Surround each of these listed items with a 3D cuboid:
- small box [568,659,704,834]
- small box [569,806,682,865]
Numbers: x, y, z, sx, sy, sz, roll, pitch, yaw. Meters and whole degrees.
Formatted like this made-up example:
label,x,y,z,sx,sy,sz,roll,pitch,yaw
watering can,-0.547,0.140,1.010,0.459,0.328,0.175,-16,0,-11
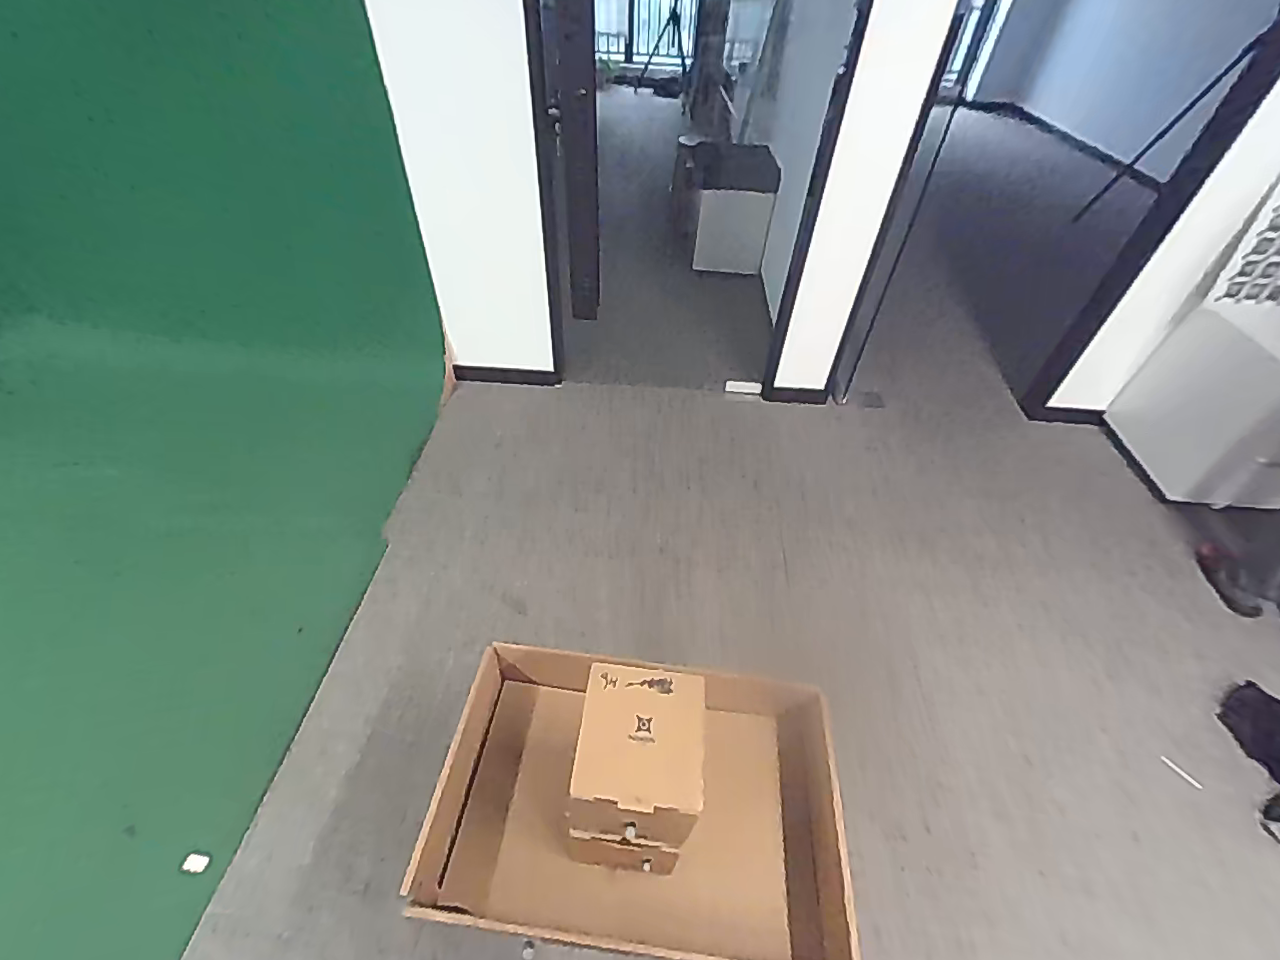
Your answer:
label,x,y,z,sx,sy,sz,roll,pitch,yaw
small box,-0.004,0.384,0.773,0.168,0.176,0.179,8,46,1
small box,-0.017,0.505,0.884,0.168,0.176,0.179,7,44,1
